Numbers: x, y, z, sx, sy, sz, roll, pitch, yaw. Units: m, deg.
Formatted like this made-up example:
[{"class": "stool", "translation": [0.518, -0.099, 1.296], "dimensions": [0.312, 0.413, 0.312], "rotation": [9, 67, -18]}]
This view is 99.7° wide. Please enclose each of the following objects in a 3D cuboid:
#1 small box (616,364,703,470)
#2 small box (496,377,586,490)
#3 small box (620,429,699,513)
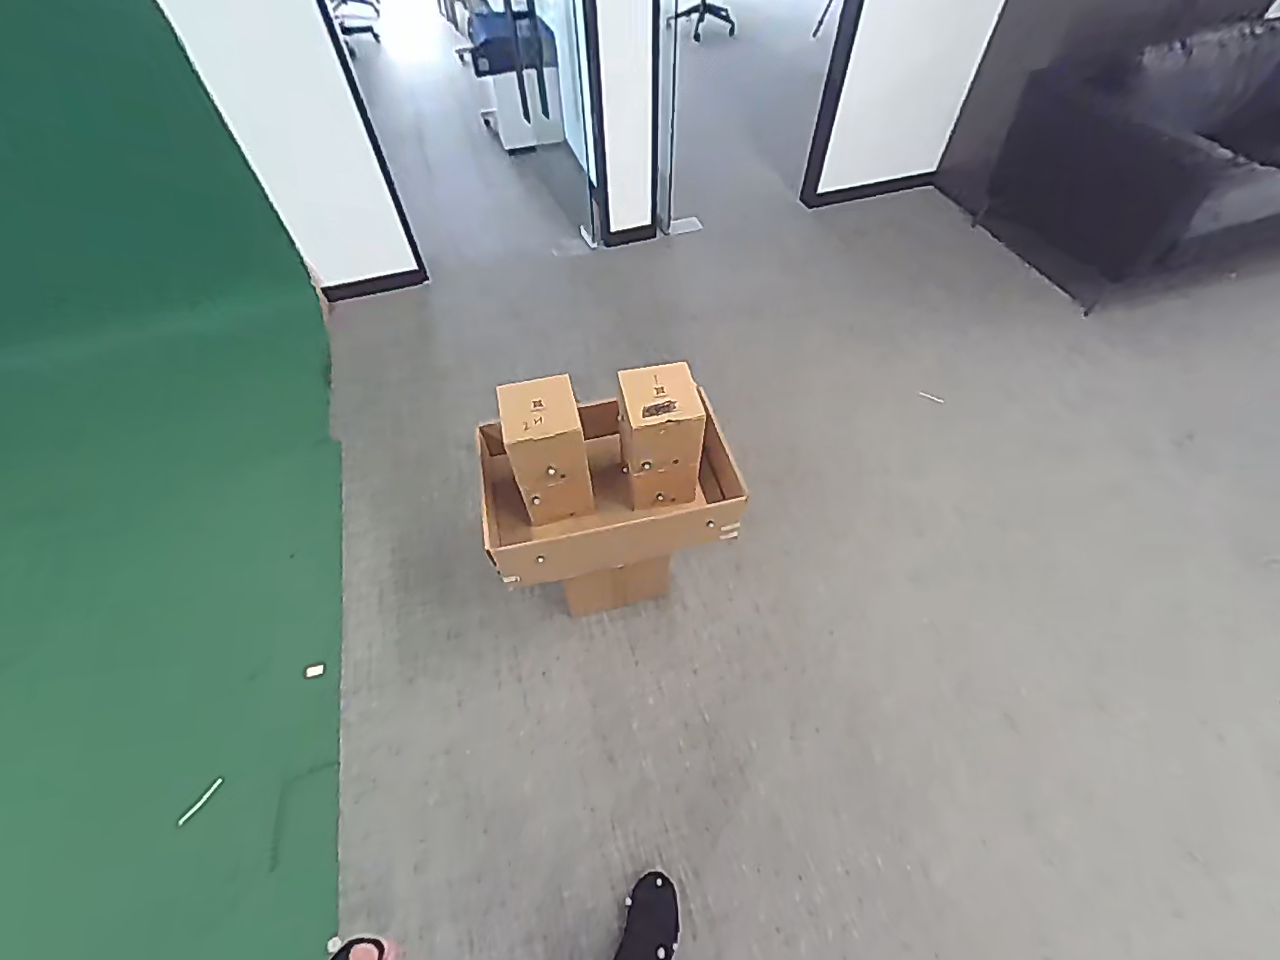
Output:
[{"class": "small box", "translation": [0.042, -0.138, 1.249], "dimensions": [0.168, 0.176, 0.179], "rotation": [-9, 54, -6]}, {"class": "small box", "translation": [-0.222, -0.104, 1.225], "dimensions": [0.168, 0.176, 0.179], "rotation": [-12, 54, -7]}, {"class": "small box", "translation": [0.043, -0.041, 1.381], "dimensions": [0.168, 0.176, 0.179], "rotation": [-10, 55, -7]}]
